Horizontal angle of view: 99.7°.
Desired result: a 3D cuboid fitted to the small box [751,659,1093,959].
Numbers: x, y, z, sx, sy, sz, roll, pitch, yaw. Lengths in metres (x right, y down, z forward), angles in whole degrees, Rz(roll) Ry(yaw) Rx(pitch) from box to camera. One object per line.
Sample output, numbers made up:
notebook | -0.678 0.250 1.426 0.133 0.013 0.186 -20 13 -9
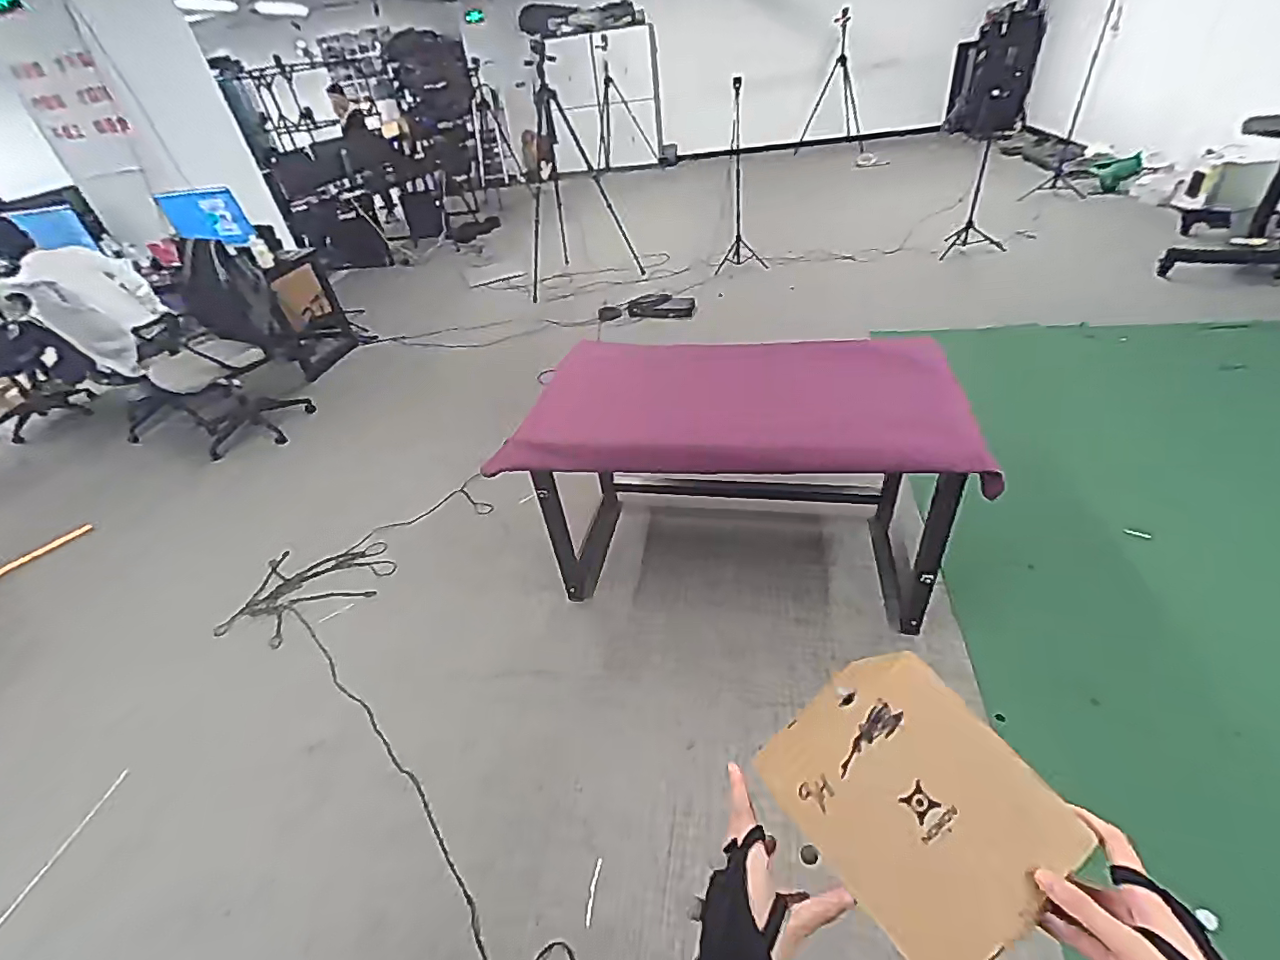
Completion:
small box | 0.220 0.282 0.480 0.168 0.176 0.179 -36 69 -9
